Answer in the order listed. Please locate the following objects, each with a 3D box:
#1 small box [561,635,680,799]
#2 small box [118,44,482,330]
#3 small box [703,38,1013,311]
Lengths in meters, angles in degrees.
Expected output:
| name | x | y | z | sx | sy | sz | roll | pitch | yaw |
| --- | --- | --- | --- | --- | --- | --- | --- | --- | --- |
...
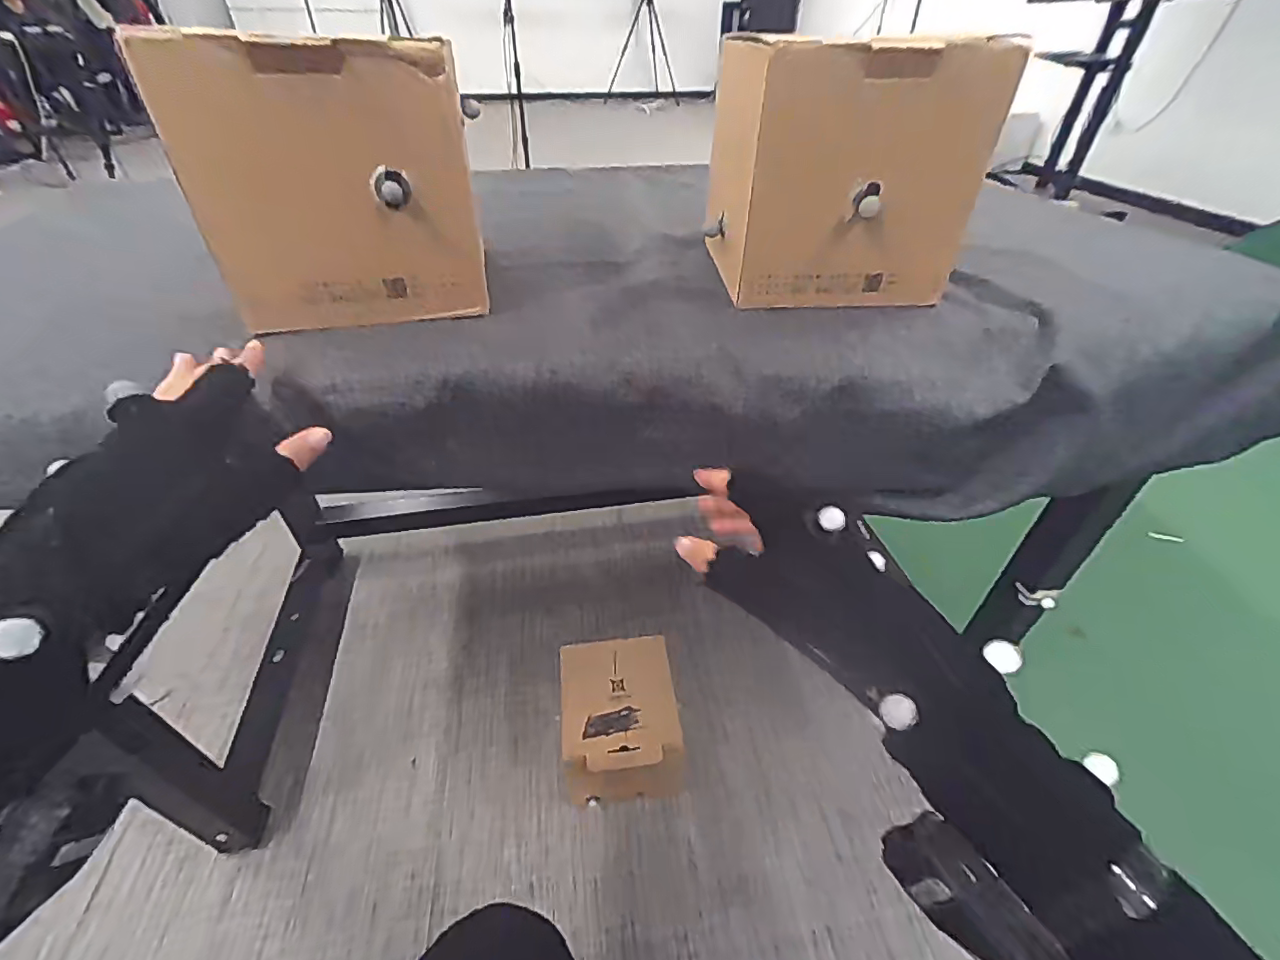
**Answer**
| name | x | y | z | sx | sy | sz | roll | pitch | yaw |
| --- | --- | --- | --- | --- | --- | --- | --- | --- | --- |
| small box | -0.032 | 0.370 | 0.838 | 0.168 | 0.176 | 0.179 | -5 | 39 | -5 |
| small box | -0.217 | -0.221 | 0.411 | 0.168 | 0.176 | 0.179 | -8 | 38 | -12 |
| small box | 0.147 | -0.249 | 0.444 | 0.168 | 0.176 | 0.179 | -2 | 41 | -2 |
